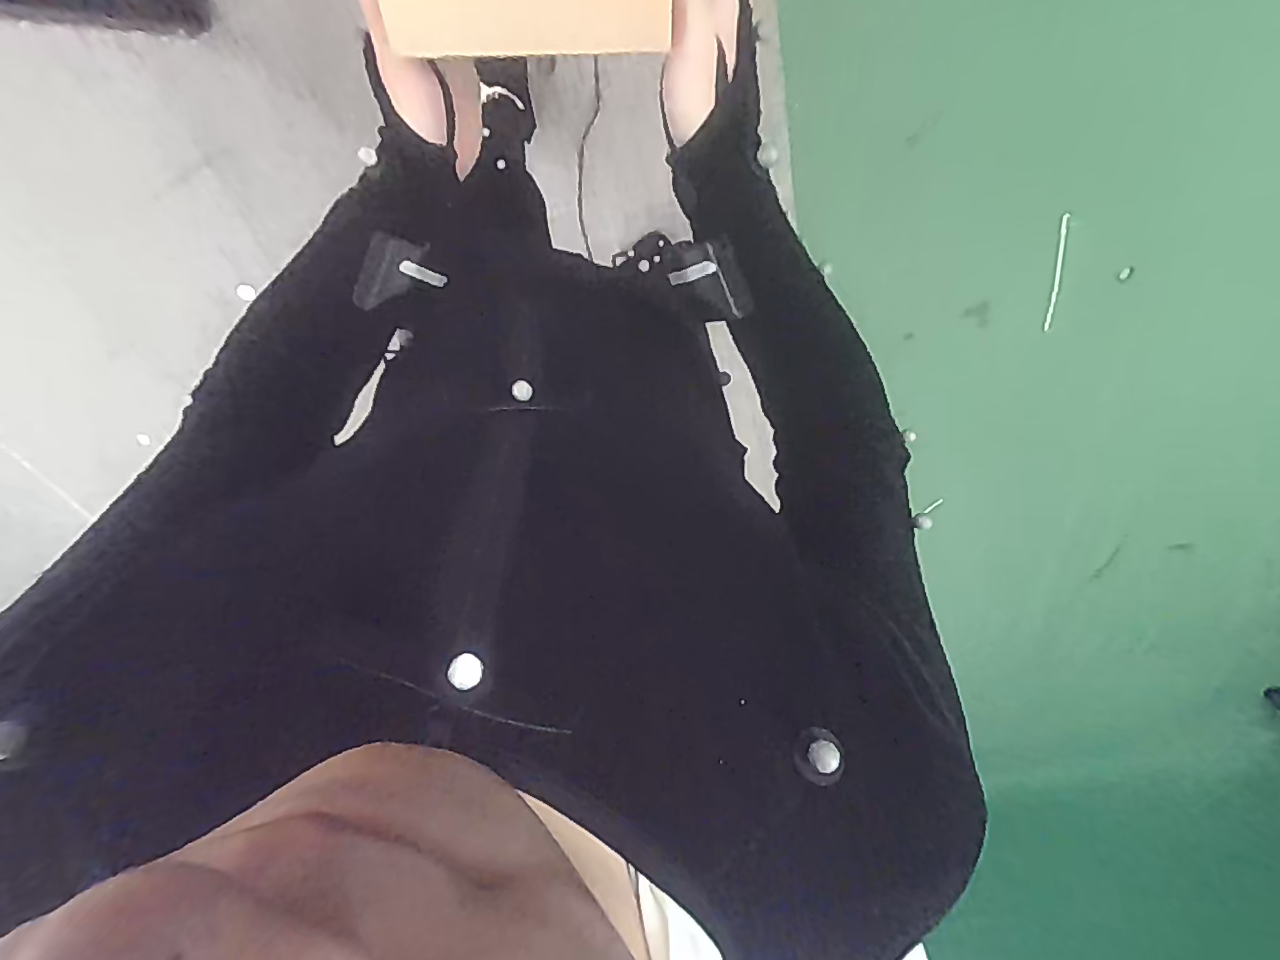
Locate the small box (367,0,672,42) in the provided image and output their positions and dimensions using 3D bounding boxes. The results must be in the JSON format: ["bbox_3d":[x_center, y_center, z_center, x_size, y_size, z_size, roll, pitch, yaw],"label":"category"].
[{"bbox_3d":[-0.064,-0.368,0.311,0.168,0.176,0.179,3,132,5],"label":"small box"}]
